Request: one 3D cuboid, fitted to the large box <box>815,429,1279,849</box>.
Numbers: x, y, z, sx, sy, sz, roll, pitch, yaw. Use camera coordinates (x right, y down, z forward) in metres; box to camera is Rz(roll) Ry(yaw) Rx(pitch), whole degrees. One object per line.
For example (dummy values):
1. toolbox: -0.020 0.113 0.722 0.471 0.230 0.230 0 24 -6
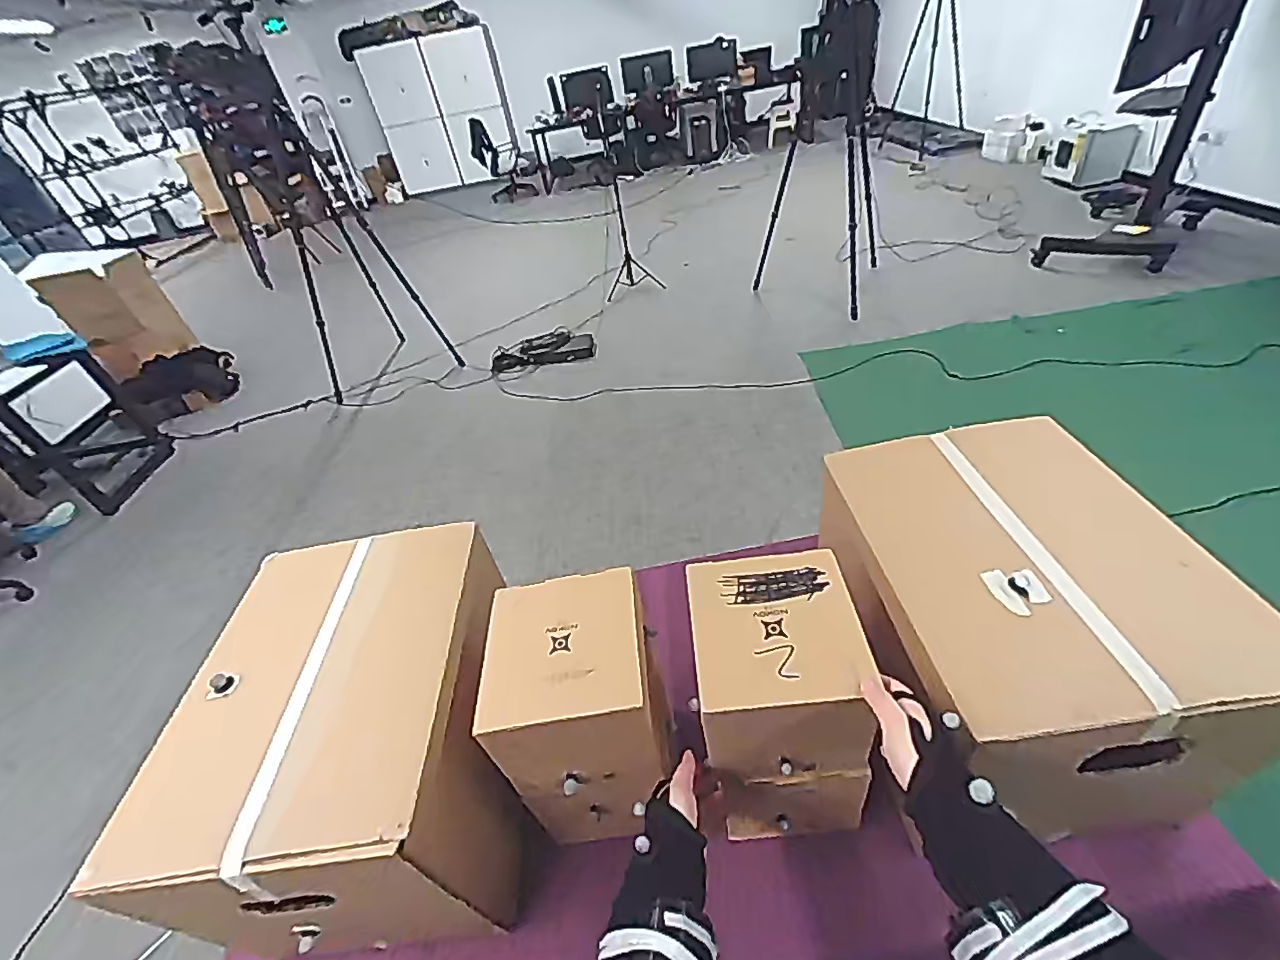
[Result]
1. large box: 0.450 0.188 0.702 0.320 0.320 0.408 -9 40 3
